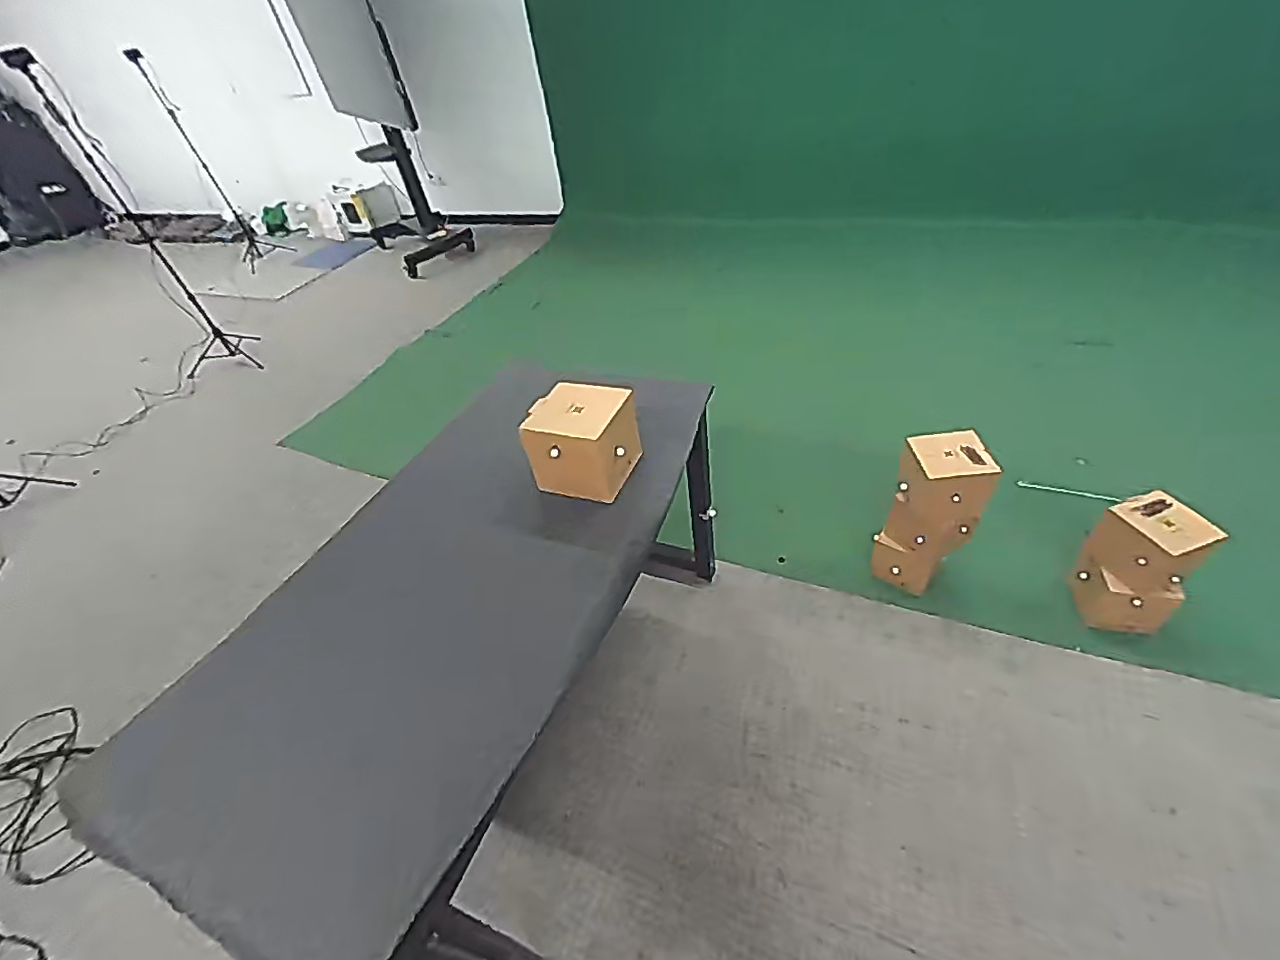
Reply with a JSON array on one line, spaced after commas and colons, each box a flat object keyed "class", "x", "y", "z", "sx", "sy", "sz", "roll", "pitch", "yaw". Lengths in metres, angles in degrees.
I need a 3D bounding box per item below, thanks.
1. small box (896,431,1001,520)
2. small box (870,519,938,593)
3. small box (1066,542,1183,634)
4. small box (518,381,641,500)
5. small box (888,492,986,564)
[{"class": "small box", "x": 0.814, "y": -0.009, "z": 1.448, "sx": 0.179, "sy": 0.176, "sz": 0.168, "roll": -6, "pitch": 44, "yaw": 5}, {"class": "small box", "x": 0.836, "y": 0.217, "z": 1.683, "sx": 0.168, "sy": 0.176, "sz": 0.179, "roll": 26, "pitch": 54, "yaw": 31}, {"class": "small box", "x": 1.335, "y": 0.300, "z": 1.507, "sx": 0.168, "sy": 0.176, "sz": 0.179, "roll": 5, "pitch": 44, "yaw": 15}, {"class": "small box", "x": -0.111, "y": -0.079, "z": 1.100, "sx": 0.179, "sy": 0.176, "sz": 0.168, "roll": 10, "pitch": 47, "yaw": 22}, {"class": "small box", "x": 0.842, "y": 0.111, "z": 1.557, "sx": 0.179, "sy": 0.176, "sz": 0.168, "roll": -26, "pitch": 47, "yaw": -17}]
